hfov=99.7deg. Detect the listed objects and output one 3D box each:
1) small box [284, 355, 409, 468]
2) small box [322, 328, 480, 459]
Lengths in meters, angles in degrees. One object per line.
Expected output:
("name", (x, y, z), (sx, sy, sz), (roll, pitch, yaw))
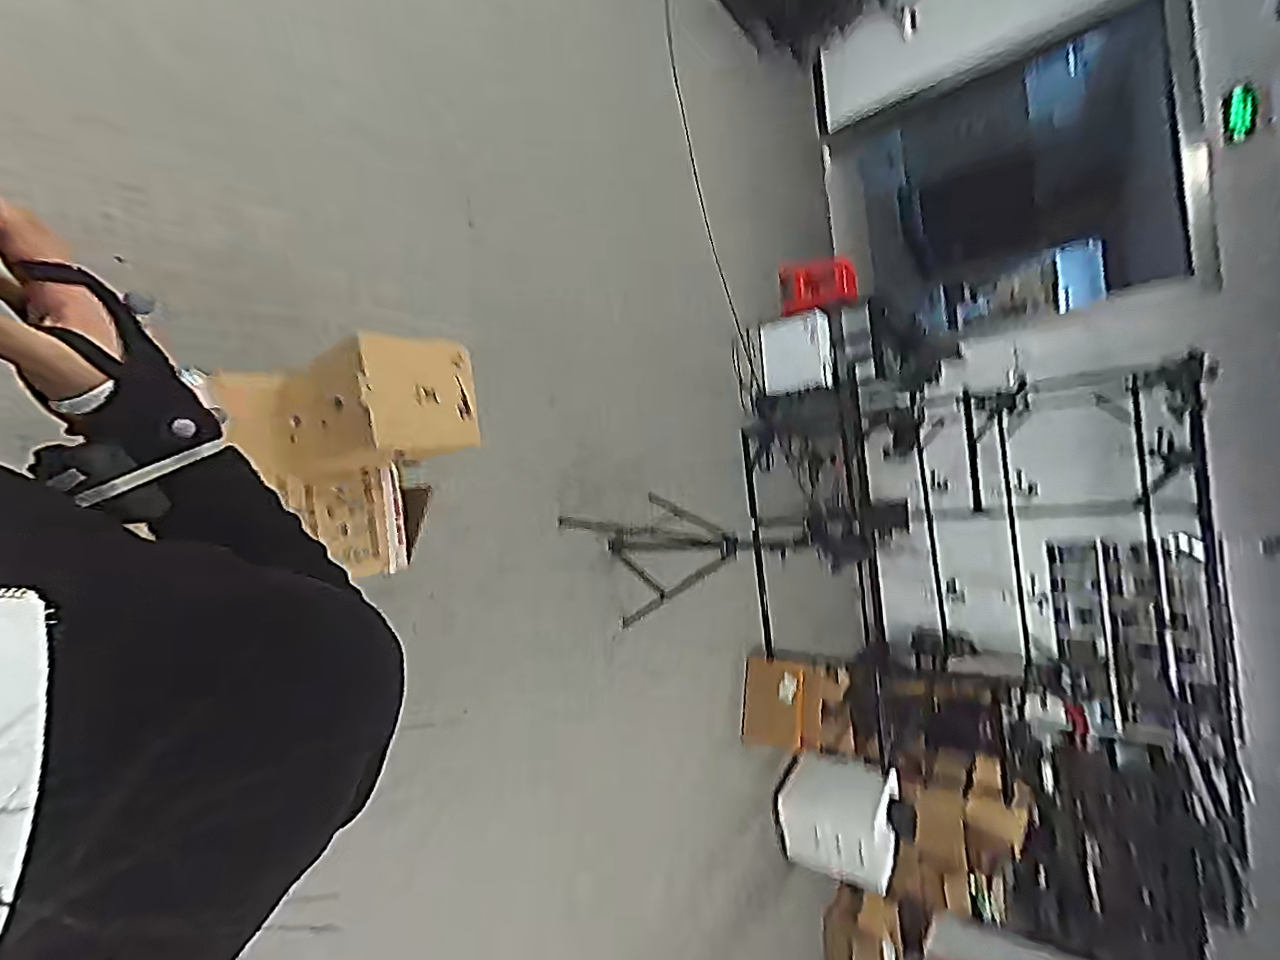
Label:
("small box", (-0.504, -0.116, 0.969), (0.179, 0.176, 0.168), (-8, 90, -50))
("small box", (-0.383, -0.126, 0.858), (0.179, 0.176, 0.168), (-6, 89, -50))
